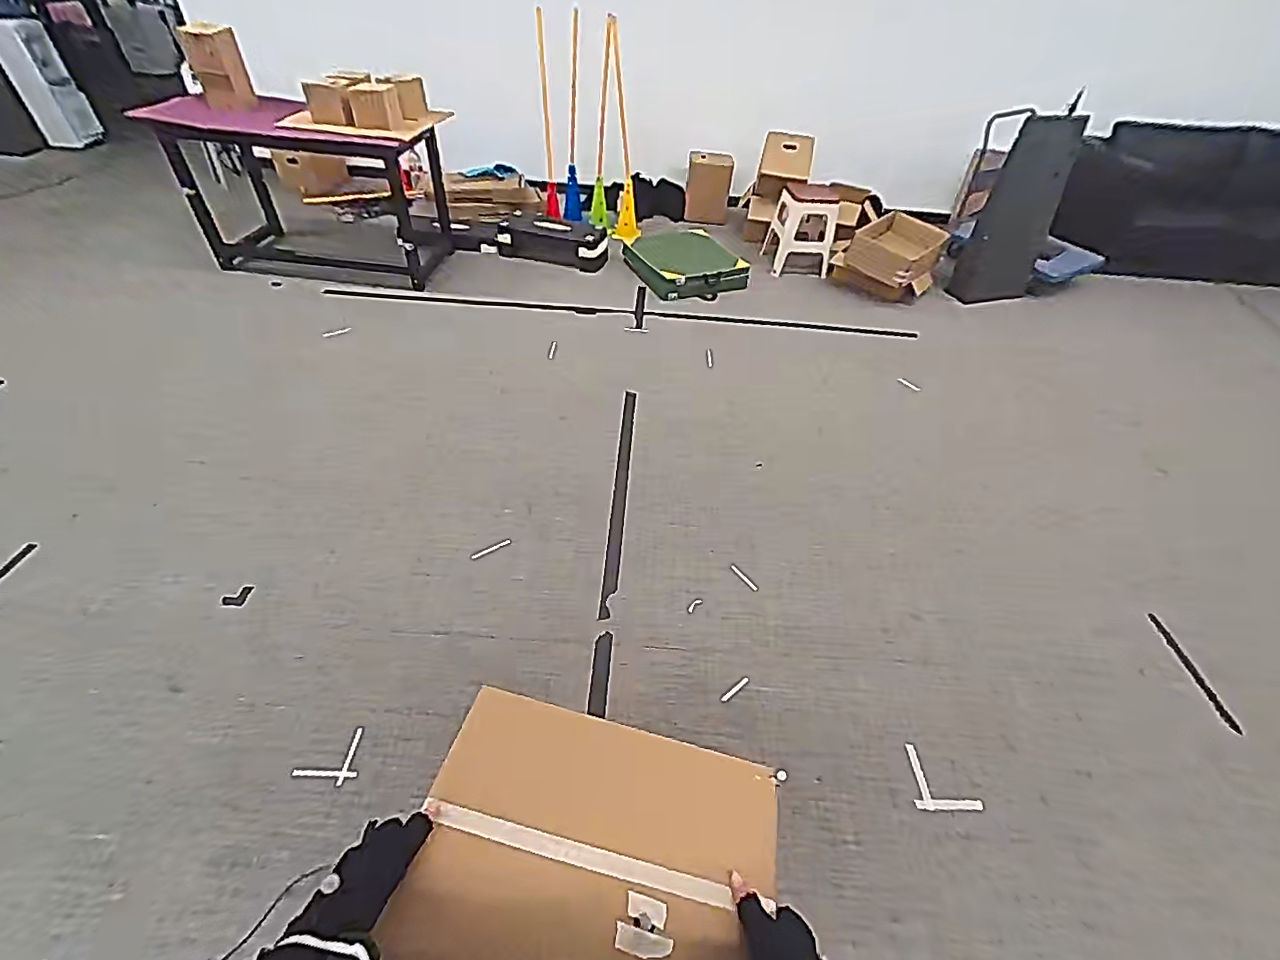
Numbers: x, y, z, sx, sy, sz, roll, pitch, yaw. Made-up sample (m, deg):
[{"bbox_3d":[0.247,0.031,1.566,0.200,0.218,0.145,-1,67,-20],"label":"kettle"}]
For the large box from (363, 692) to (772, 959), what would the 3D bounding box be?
[{"bbox_3d":[-0.071,0.539,0.703,0.408,0.320,0.320,15,40,4],"label":"large box"}]
